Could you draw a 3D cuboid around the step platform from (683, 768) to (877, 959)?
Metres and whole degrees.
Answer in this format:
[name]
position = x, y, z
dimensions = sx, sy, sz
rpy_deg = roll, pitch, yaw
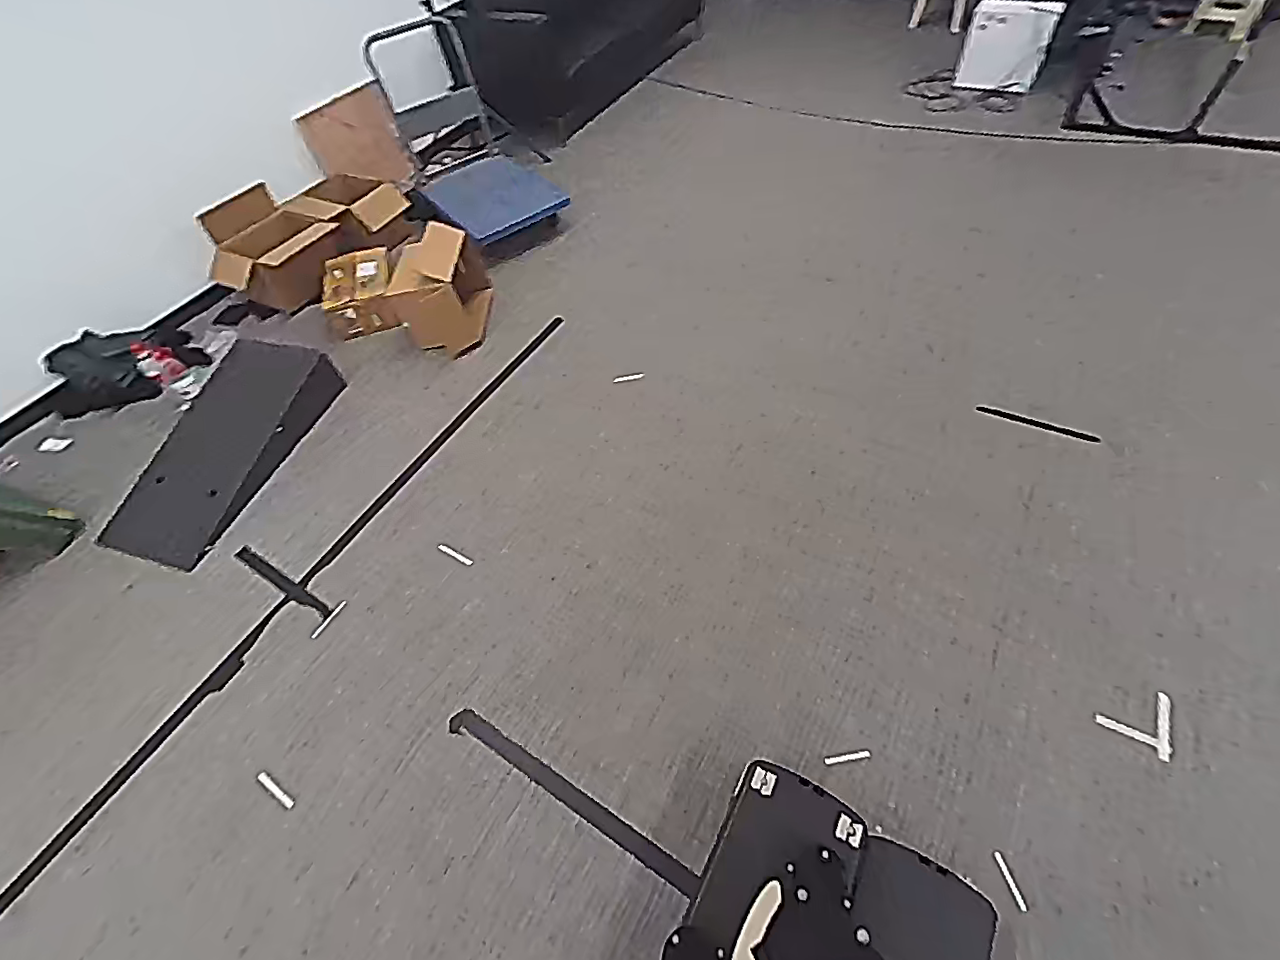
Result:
[step platform]
position = 0.253, 0.989, 1.126
dimensions = 0.286, 0.204, 0.684
rpy_deg = 22, 59, 21
